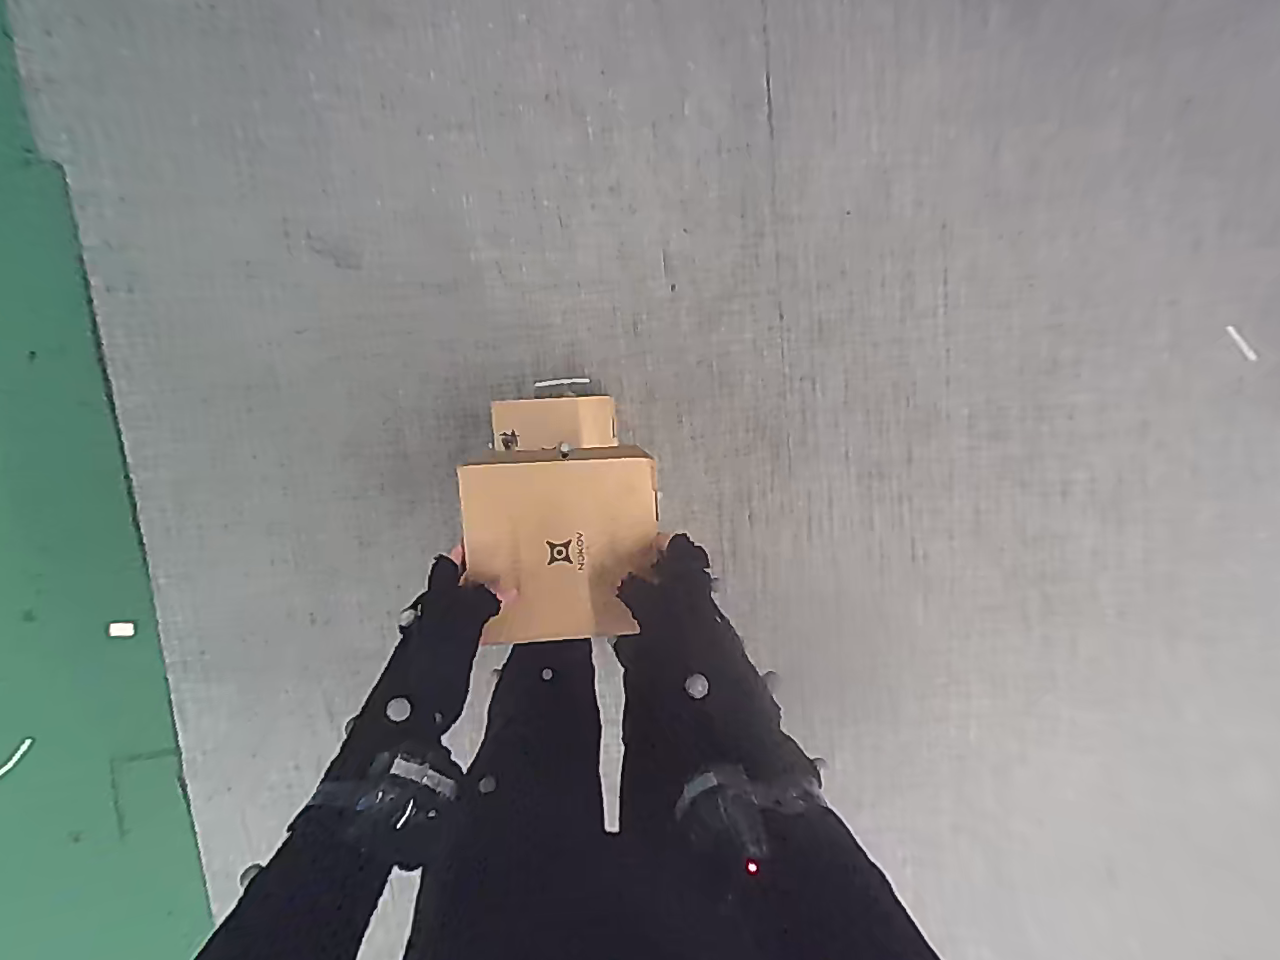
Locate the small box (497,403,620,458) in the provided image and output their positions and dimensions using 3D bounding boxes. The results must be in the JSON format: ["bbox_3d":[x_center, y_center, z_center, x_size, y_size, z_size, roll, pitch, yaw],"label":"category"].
[{"bbox_3d":[-0.120,-0.040,0.868,0.179,0.176,0.168,-2,97,-1],"label":"small box"}]

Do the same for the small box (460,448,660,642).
[{"bbox_3d":[-0.078,0.055,0.575,0.179,0.176,0.168,-3,96,-4],"label":"small box"}]
